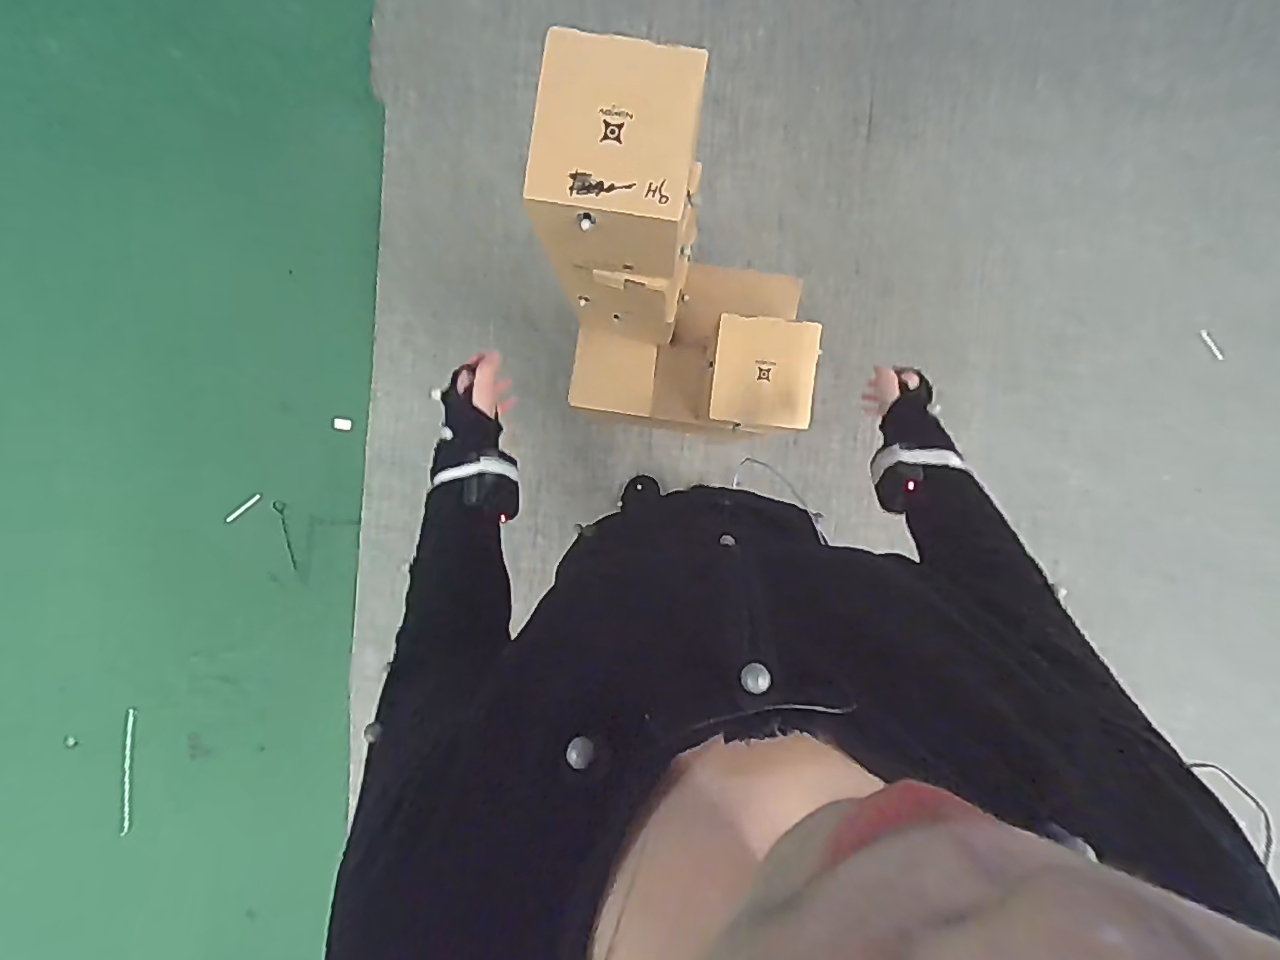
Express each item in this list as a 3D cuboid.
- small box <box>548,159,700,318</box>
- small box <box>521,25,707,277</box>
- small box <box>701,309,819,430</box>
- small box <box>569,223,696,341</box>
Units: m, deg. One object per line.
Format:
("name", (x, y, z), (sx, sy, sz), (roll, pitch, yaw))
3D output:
("small box", (-0.019, -0.357, 0.790), (0.168, 0.176, 0.179), (16, 90, 1))
("small box", (-0.026, -0.362, 0.626), (0.168, 0.176, 0.179), (10, 91, 1))
("small box", (0.201, -0.184, 0.954), (0.168, 0.176, 0.179), (6, 92, 1))
("small box", (-0.012, -0.358, 0.955), (0.179, 0.176, 0.168), (14, 92, 0))
